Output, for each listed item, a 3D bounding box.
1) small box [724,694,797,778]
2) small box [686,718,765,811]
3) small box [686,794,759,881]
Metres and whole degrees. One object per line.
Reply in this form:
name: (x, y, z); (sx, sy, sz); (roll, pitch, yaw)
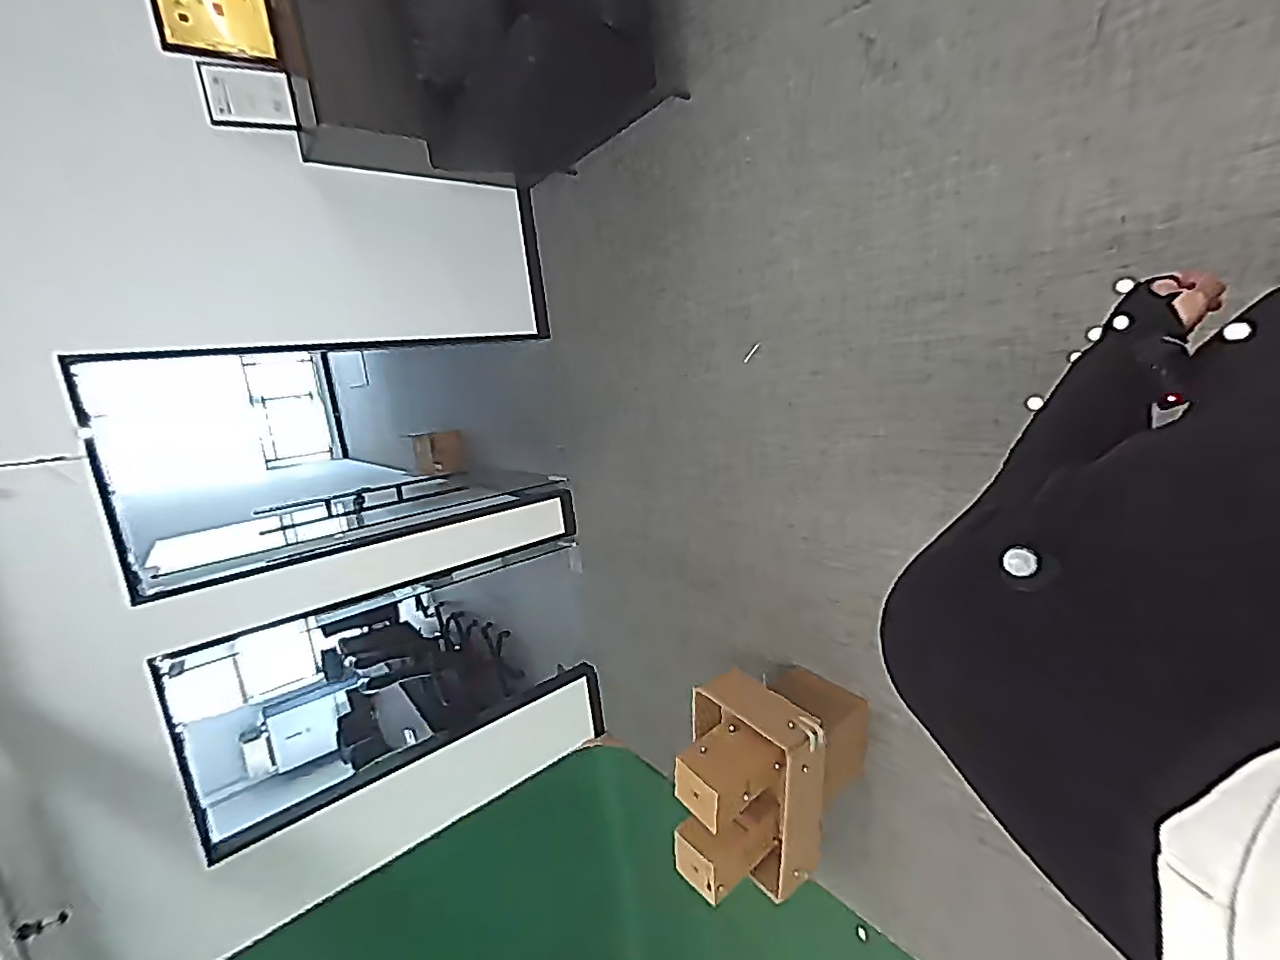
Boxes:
small box: (0.395, 0.847, 1.804); (0.179, 0.176, 0.168); (25, 122, 47)
small box: (0.268, 0.886, 1.711); (0.179, 0.176, 0.168); (24, 121, 47)
small box: (0.276, 1.163, 1.802); (0.179, 0.176, 0.168); (15, 115, 51)
